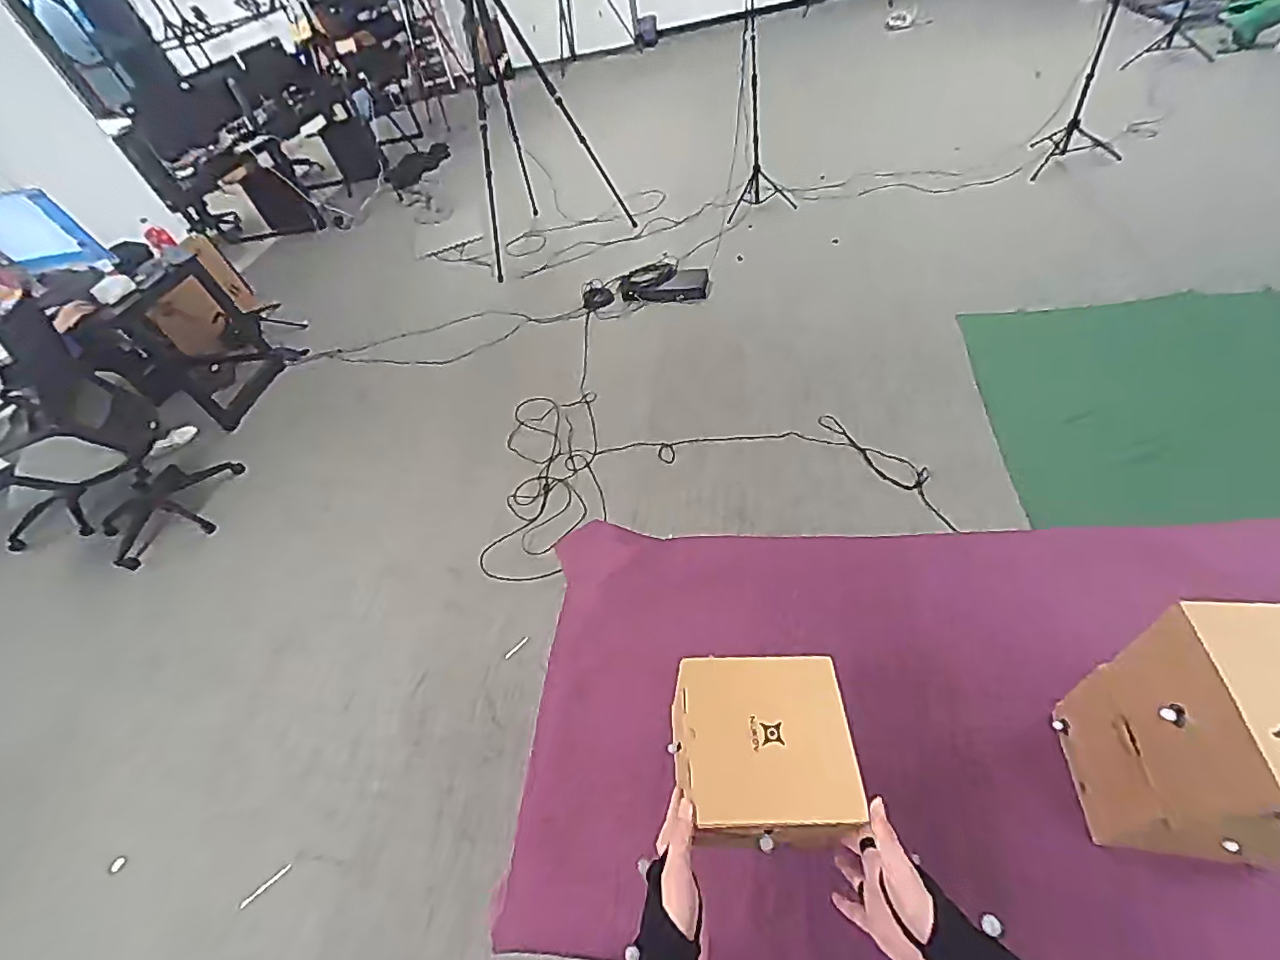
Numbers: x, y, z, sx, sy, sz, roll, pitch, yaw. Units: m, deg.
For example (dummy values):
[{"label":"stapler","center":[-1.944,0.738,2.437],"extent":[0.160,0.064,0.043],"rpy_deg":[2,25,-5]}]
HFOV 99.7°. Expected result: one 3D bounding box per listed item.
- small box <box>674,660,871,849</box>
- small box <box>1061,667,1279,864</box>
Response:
[{"label":"small box","center":[0.135,0.320,0.627],"extent":[0.179,0.176,0.168],"rpy_deg":[-2,50,0]},{"label":"small box","center":[0.643,0.340,0.644],"extent":[0.179,0.176,0.168],"rpy_deg":[0,49,13]}]
